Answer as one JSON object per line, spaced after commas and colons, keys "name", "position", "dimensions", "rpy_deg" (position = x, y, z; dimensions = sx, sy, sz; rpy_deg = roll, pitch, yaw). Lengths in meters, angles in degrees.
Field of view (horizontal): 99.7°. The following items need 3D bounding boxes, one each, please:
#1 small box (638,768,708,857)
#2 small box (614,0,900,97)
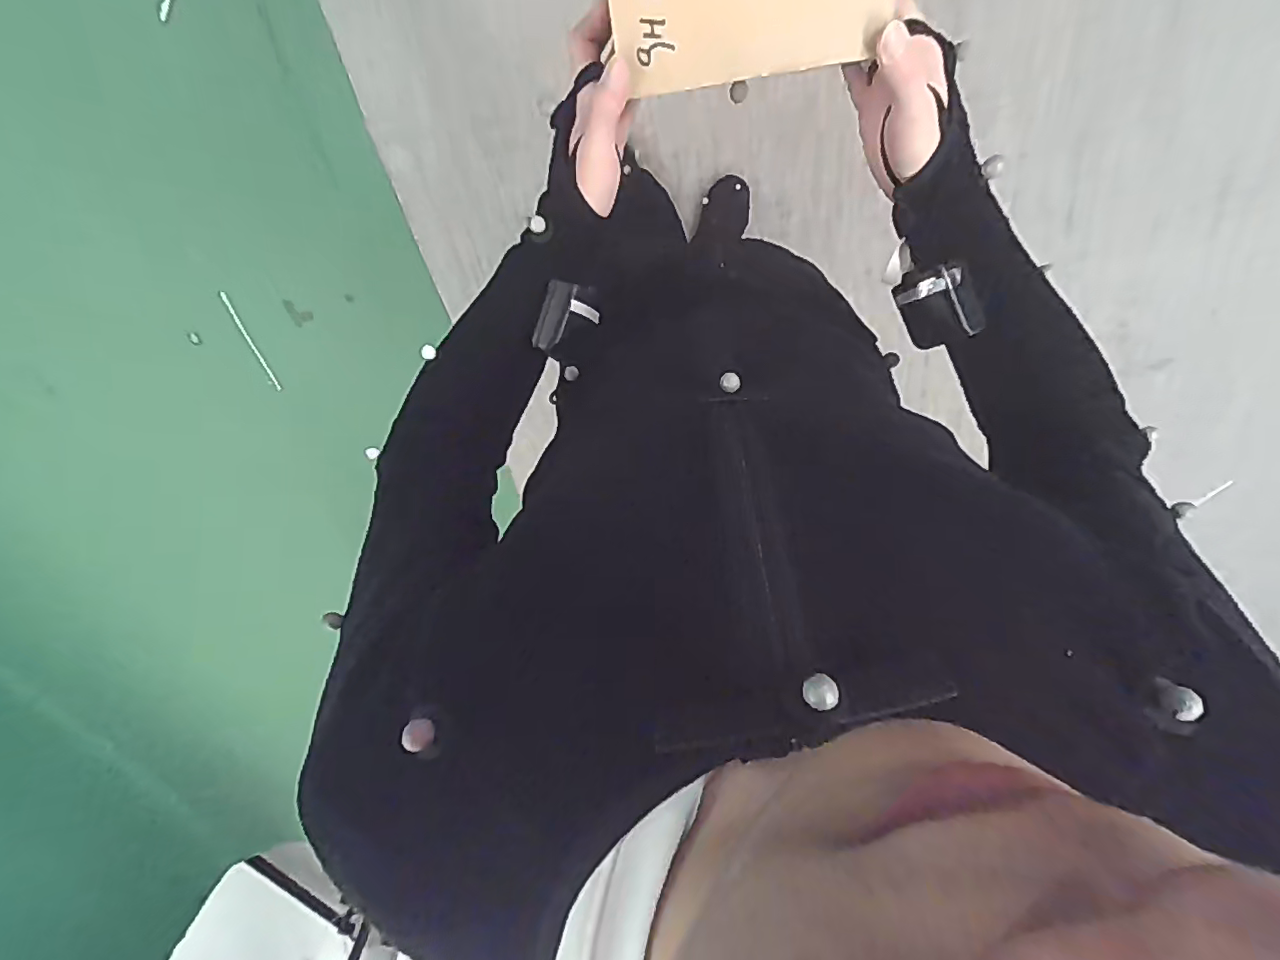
{"name": "small box", "position": [0.095, 0.917, 1.485], "dimensions": [0.179, 0.176, 0.168], "rpy_deg": [-1, 124, 8]}
{"name": "small box", "position": [0.070, -0.376, 0.370], "dimensions": [0.179, 0.176, 0.168], "rpy_deg": [-3, 126, 7]}
